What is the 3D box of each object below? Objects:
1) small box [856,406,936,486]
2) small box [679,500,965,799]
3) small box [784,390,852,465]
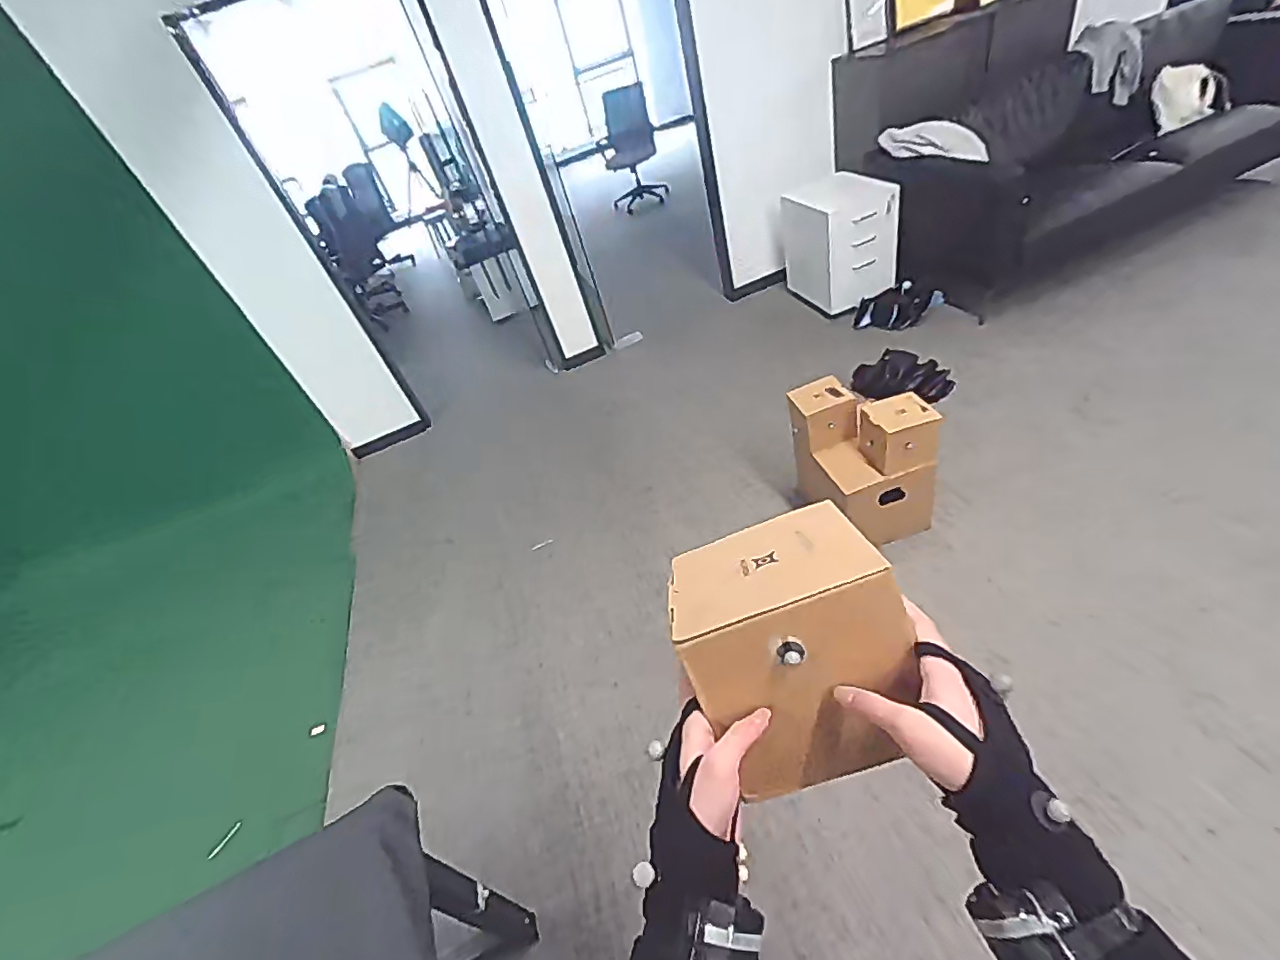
[{"bbox_3d":[0.809,-0.104,1.719,0.179,0.176,0.168,-17,37,-1],"label":"small box"},{"bbox_3d":[0.147,0.143,0.483,0.179,0.176,0.168,-22,12,7],"label":"small box"},{"bbox_3d":[0.623,-0.181,1.889,0.179,0.176,0.168,-20,38,2],"label":"small box"}]
